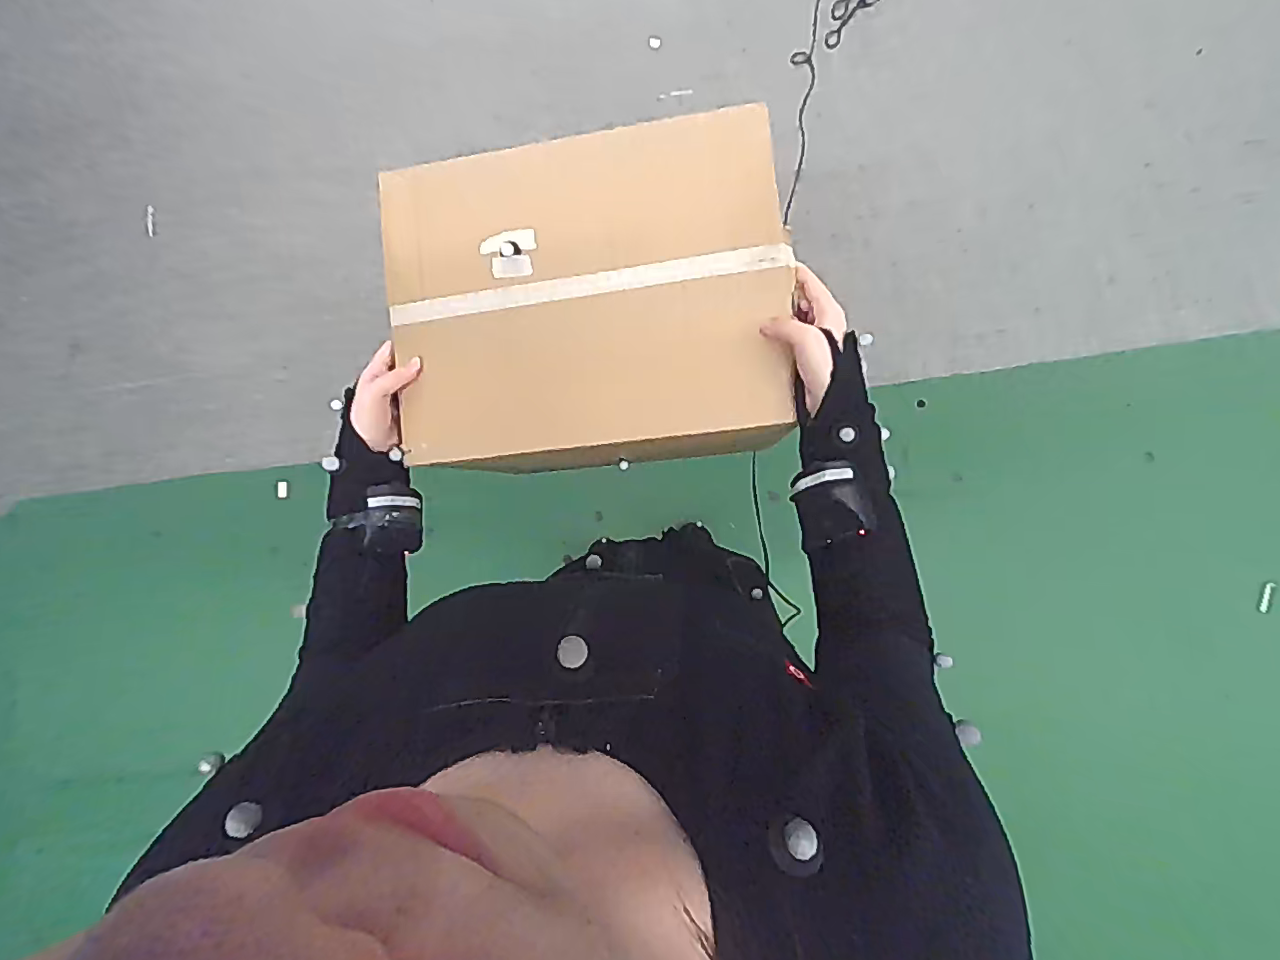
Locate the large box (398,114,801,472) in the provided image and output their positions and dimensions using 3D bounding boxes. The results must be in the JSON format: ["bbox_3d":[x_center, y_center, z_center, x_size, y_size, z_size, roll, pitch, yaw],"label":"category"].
[{"bbox_3d":[-0.030,-0.185,0.701,0.408,0.320,0.320,-6,88,9],"label":"large box"}]
